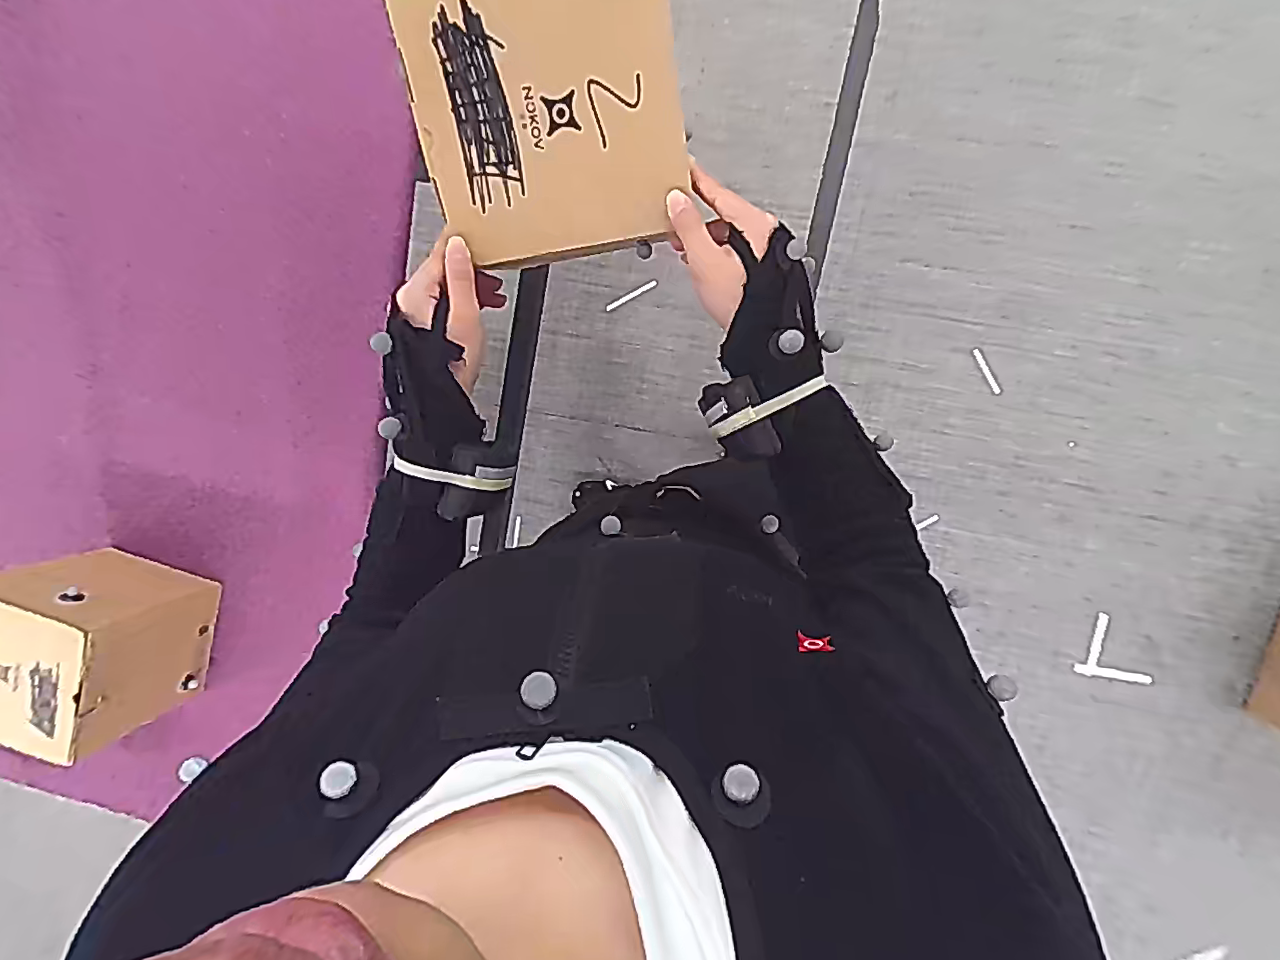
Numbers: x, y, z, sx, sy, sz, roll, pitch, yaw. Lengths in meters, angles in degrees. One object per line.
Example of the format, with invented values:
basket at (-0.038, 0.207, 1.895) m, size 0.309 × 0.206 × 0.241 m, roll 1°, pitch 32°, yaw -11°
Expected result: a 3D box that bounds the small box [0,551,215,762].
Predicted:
small box at (-0.676, 0.199, 0.663) m, size 0.179 × 0.176 × 0.168 m, roll 17°, pitch 97°, yaw 4°
